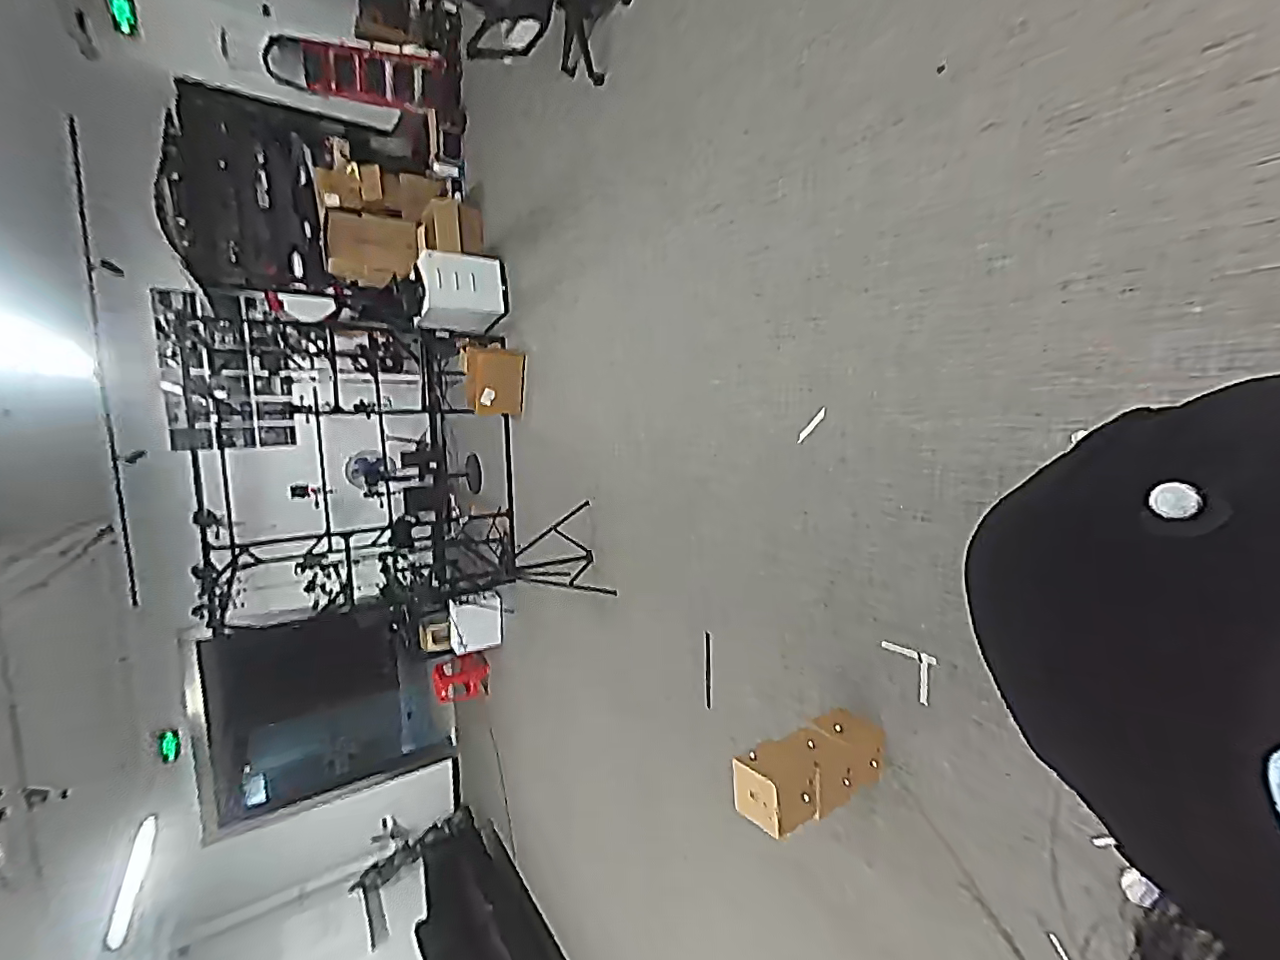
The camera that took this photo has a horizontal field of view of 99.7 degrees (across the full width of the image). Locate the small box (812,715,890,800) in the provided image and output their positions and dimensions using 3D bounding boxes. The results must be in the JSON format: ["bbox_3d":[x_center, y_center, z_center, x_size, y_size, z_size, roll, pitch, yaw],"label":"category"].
[{"bbox_3d":[0.688,0.897,1.771,0.179,0.176,0.168,7,100,56],"label":"small box"}]

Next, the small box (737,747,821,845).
[{"bbox_3d":[0.410,0.919,1.595,0.179,0.176,0.168,0,95,55],"label":"small box"}]
